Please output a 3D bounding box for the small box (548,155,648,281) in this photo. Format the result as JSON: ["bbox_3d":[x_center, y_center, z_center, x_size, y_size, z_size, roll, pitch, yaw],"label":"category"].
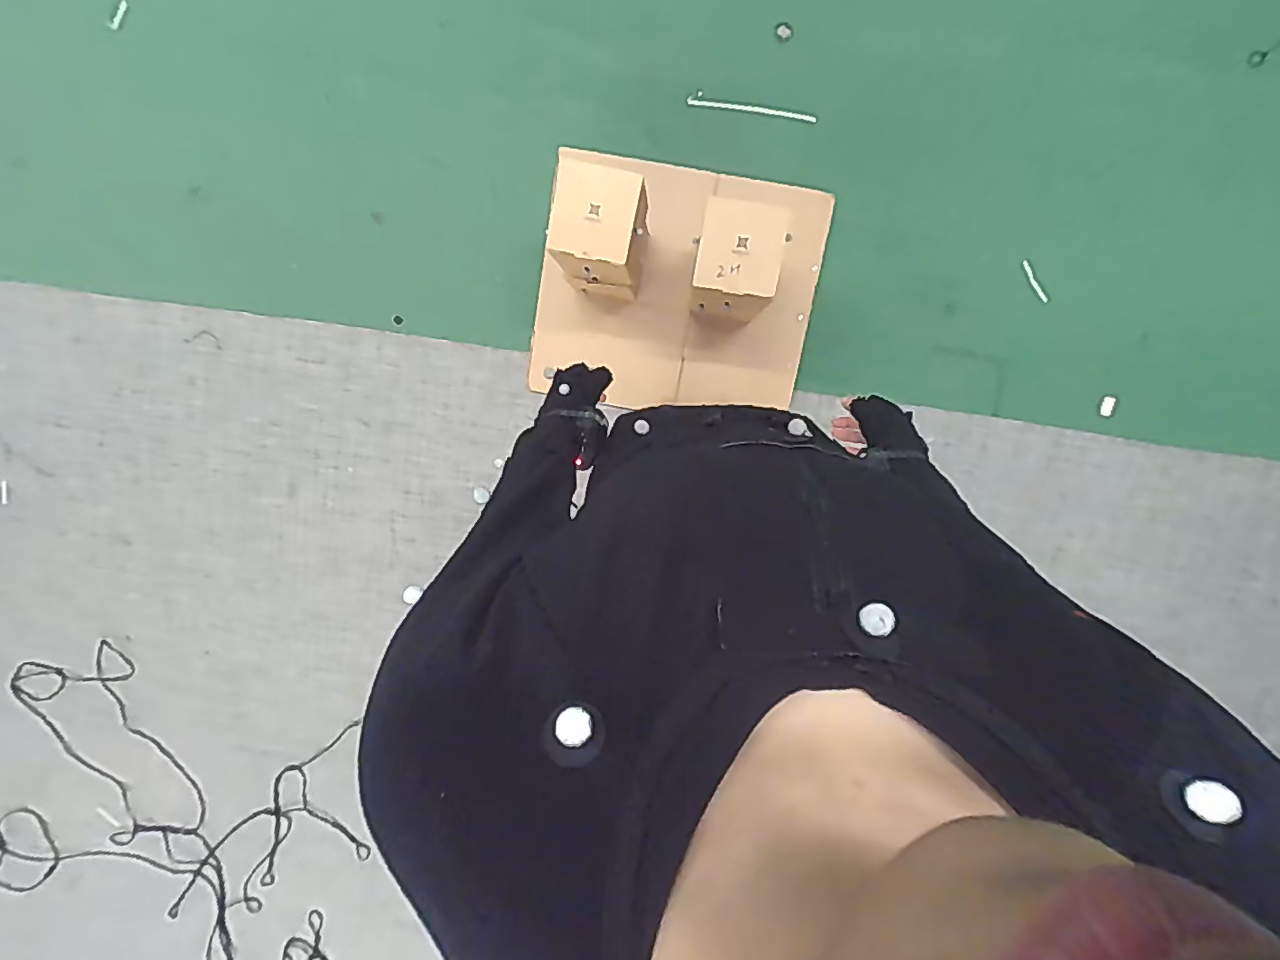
[{"bbox_3d":[-0.081,-0.537,1.132,0.168,0.176,0.179,13,100,1],"label":"small box"}]

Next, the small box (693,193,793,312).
[{"bbox_3d":[0.204,-0.464,1.125,0.168,0.176,0.179,10,99,3],"label":"small box"}]

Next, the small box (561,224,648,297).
[{"bbox_3d":[-0.078,-0.551,1.295,0.168,0.176,0.179,12,98,2],"label":"small box"}]
